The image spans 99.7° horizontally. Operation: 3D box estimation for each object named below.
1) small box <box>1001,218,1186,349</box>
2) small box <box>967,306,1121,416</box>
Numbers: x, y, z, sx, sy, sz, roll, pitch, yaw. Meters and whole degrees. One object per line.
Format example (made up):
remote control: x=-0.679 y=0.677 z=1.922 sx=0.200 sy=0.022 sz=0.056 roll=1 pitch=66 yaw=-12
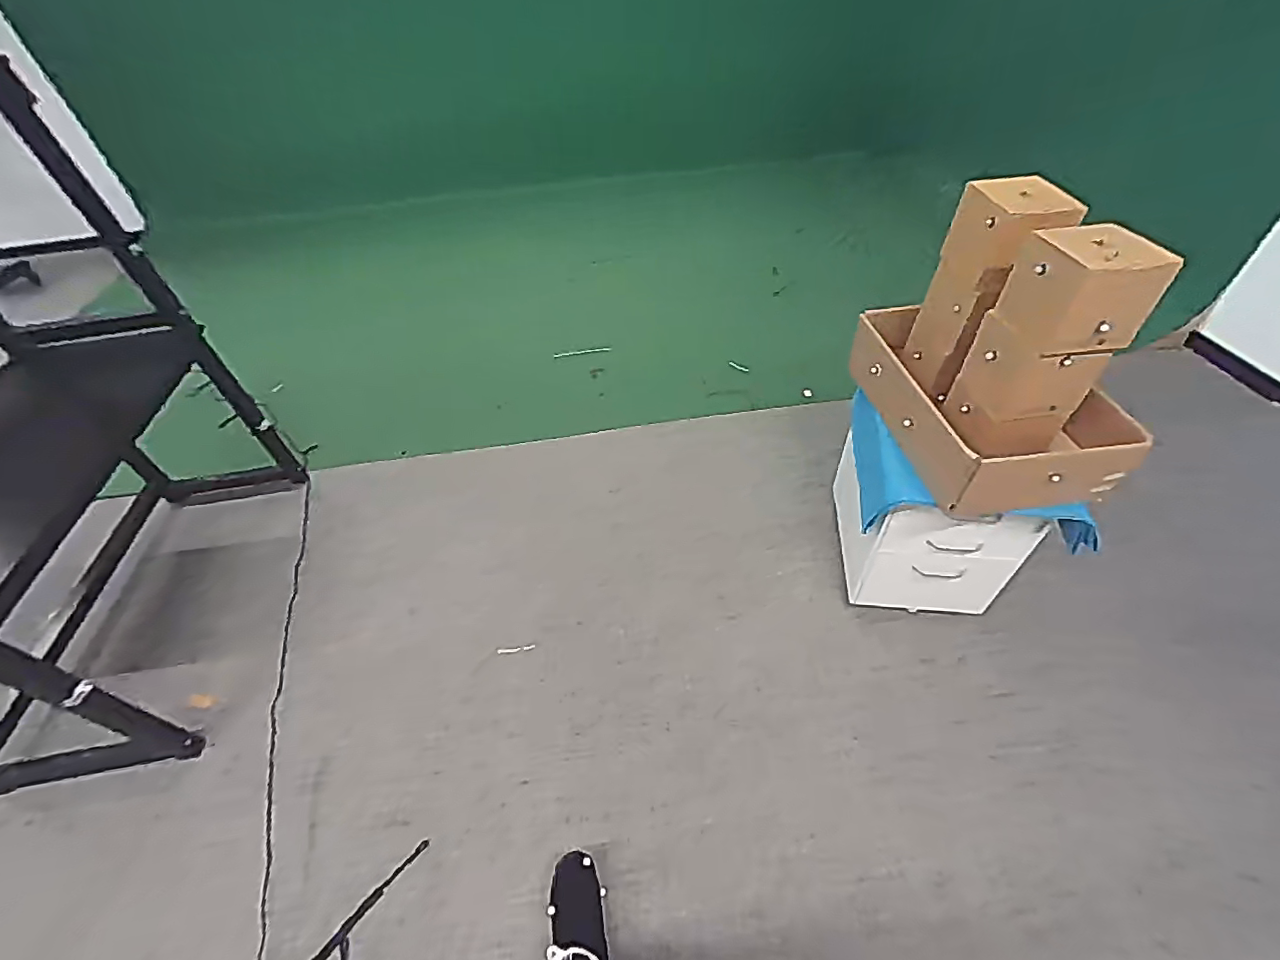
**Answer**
small box: x=0.826 y=-0.367 z=1.012 sx=0.168 sy=0.176 sz=0.179 roll=-7 pitch=46 yaw=-1
small box: x=0.831 y=-0.257 z=1.135 sx=0.168 sy=0.176 sz=0.179 roll=-8 pitch=45 yaw=-2
